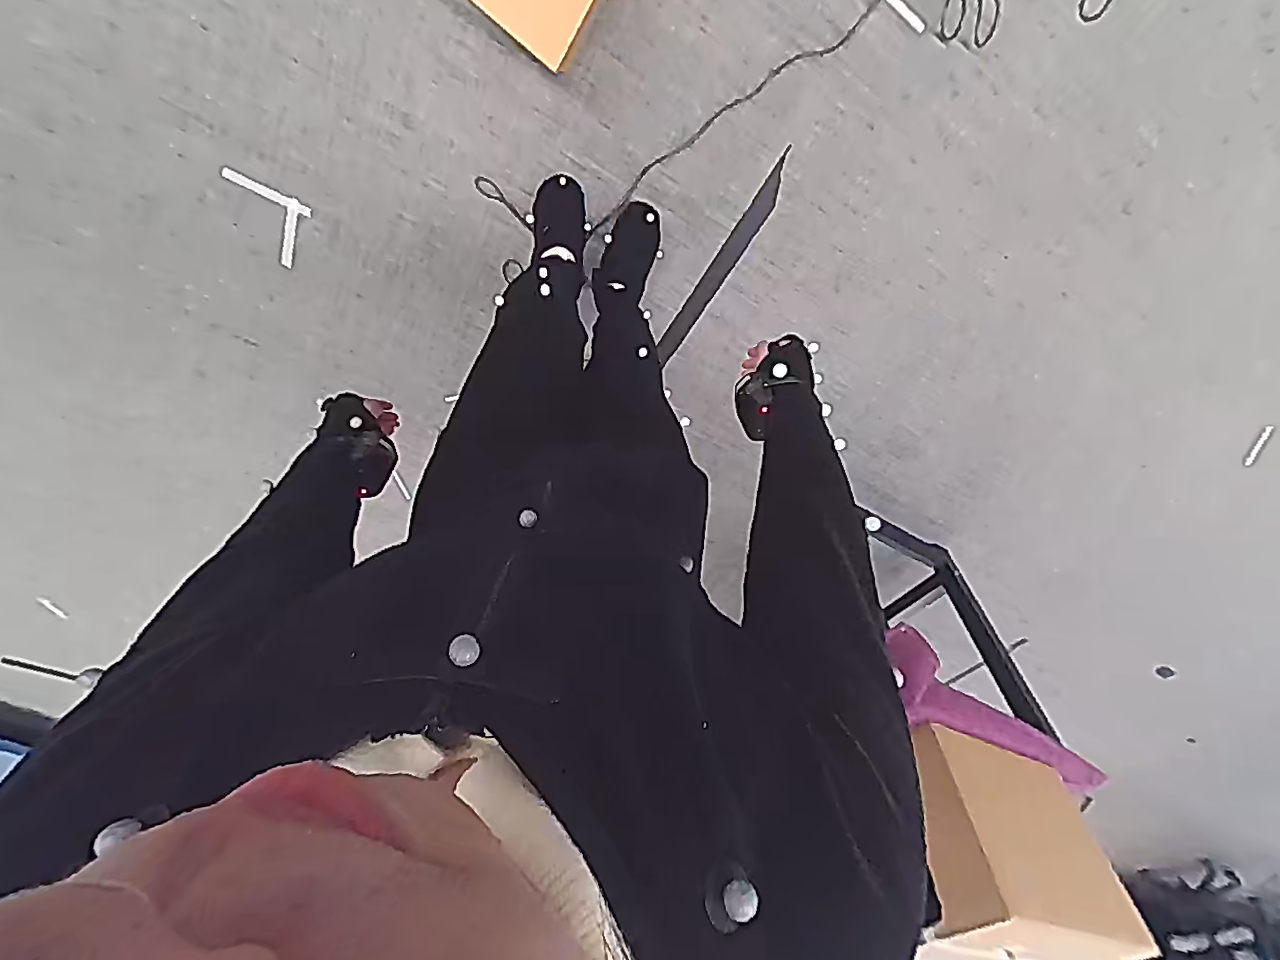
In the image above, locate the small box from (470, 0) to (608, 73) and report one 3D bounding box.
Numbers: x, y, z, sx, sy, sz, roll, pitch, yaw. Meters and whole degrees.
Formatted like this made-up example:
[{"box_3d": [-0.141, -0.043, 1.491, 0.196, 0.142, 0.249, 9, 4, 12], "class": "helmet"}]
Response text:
[{"box_3d": [-0.148, -0.807, 0.879, 0.168, 0.176, 0.179, 30, 123, -20], "class": "small box"}]
